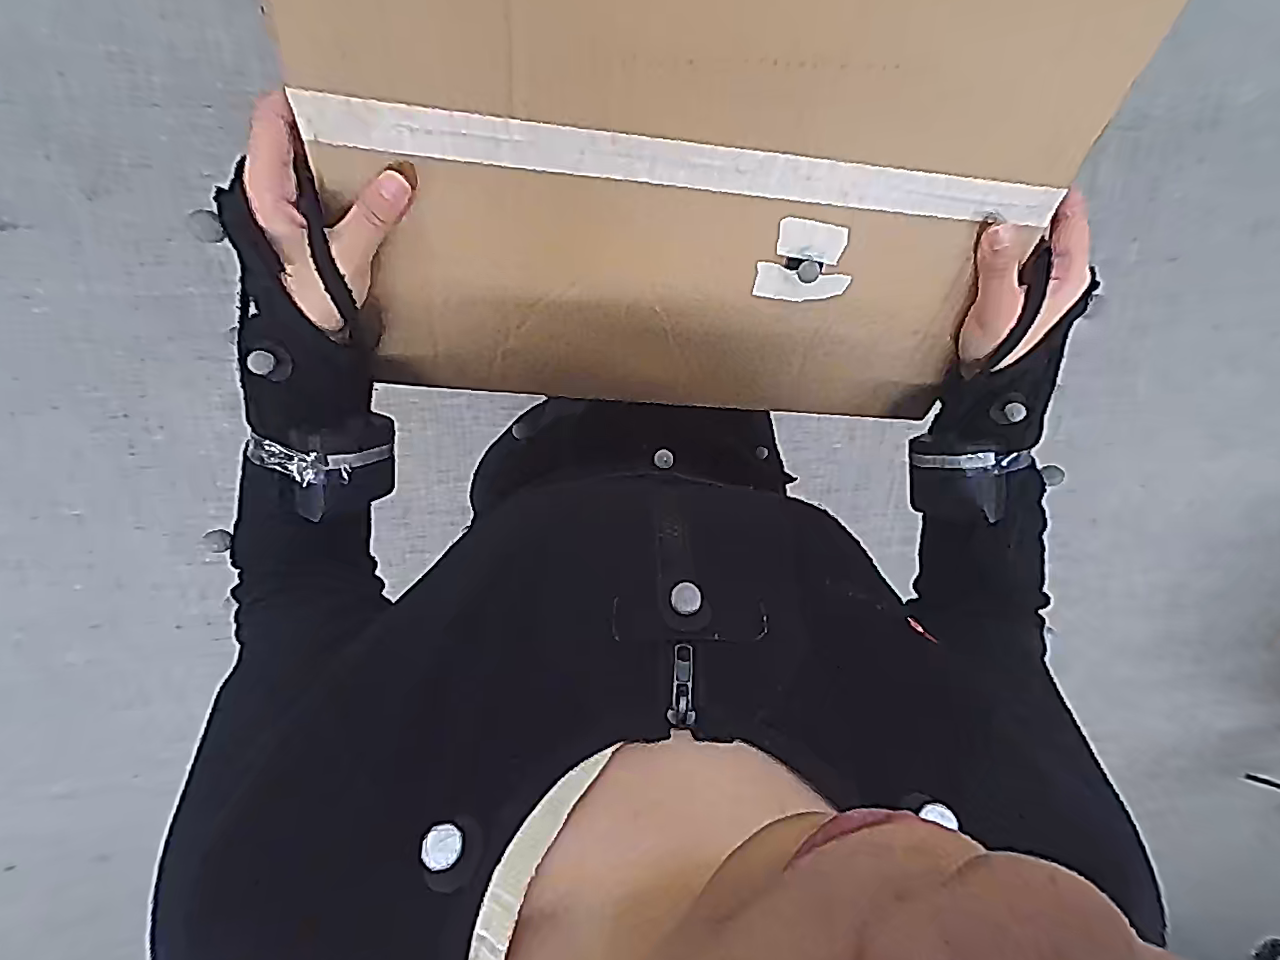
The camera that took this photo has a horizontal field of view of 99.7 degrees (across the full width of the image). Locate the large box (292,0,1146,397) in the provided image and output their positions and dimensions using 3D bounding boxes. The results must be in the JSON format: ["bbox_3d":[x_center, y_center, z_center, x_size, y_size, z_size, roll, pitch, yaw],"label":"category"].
[{"bbox_3d":[0.023,-0.281,0.398,0.408,0.320,0.320,1,136,-9],"label":"large box"}]
